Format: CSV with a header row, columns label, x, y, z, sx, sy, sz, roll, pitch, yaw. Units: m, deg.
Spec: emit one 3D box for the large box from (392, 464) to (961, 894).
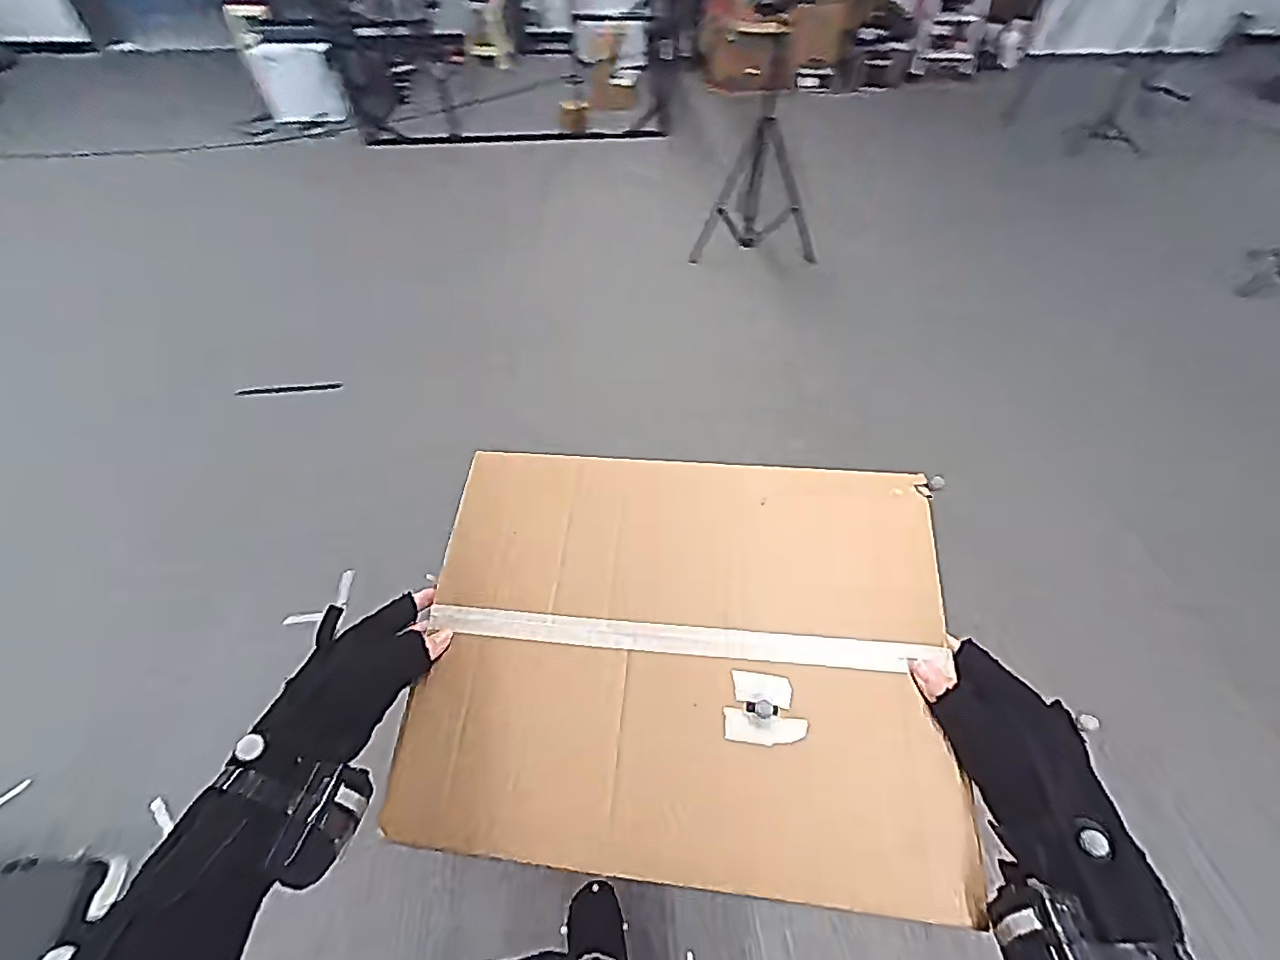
label,x,y,z,sx,sy,sz,roll,pitch,yaw
large box,0.036,0.194,0.570,0.408,0.320,0.320,2,64,6
